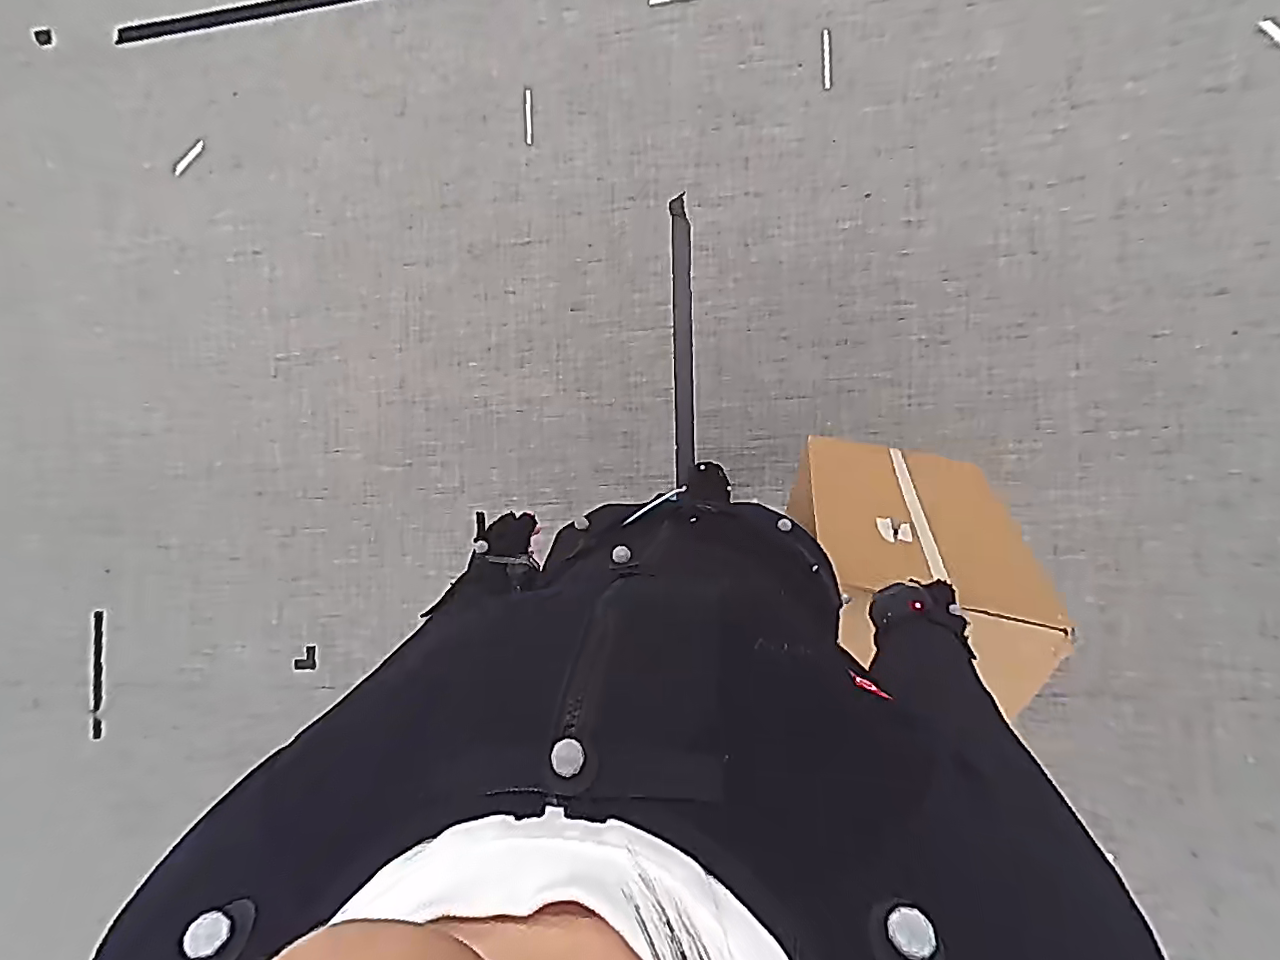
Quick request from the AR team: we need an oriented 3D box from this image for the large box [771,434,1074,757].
[{"bbox_3d":[0.411,0.173,0.923,0.320,0.408,0.320,10,126,8],"label":"large box"}]
